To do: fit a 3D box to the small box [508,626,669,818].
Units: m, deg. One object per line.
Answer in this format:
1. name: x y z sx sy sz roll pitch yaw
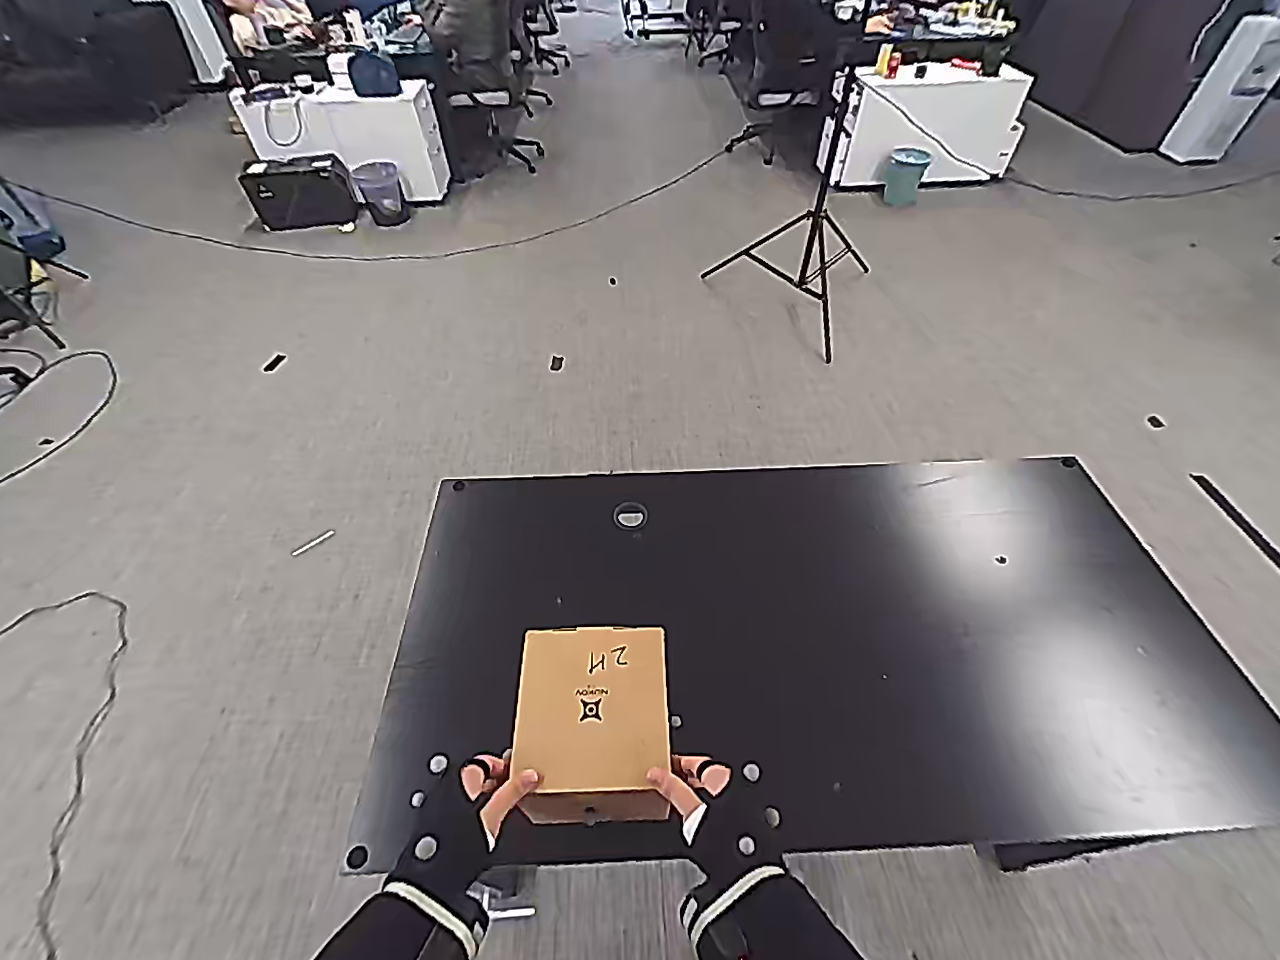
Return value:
1. small box: -0.050 0.296 0.652 0.168 0.176 0.179 -2 48 0
